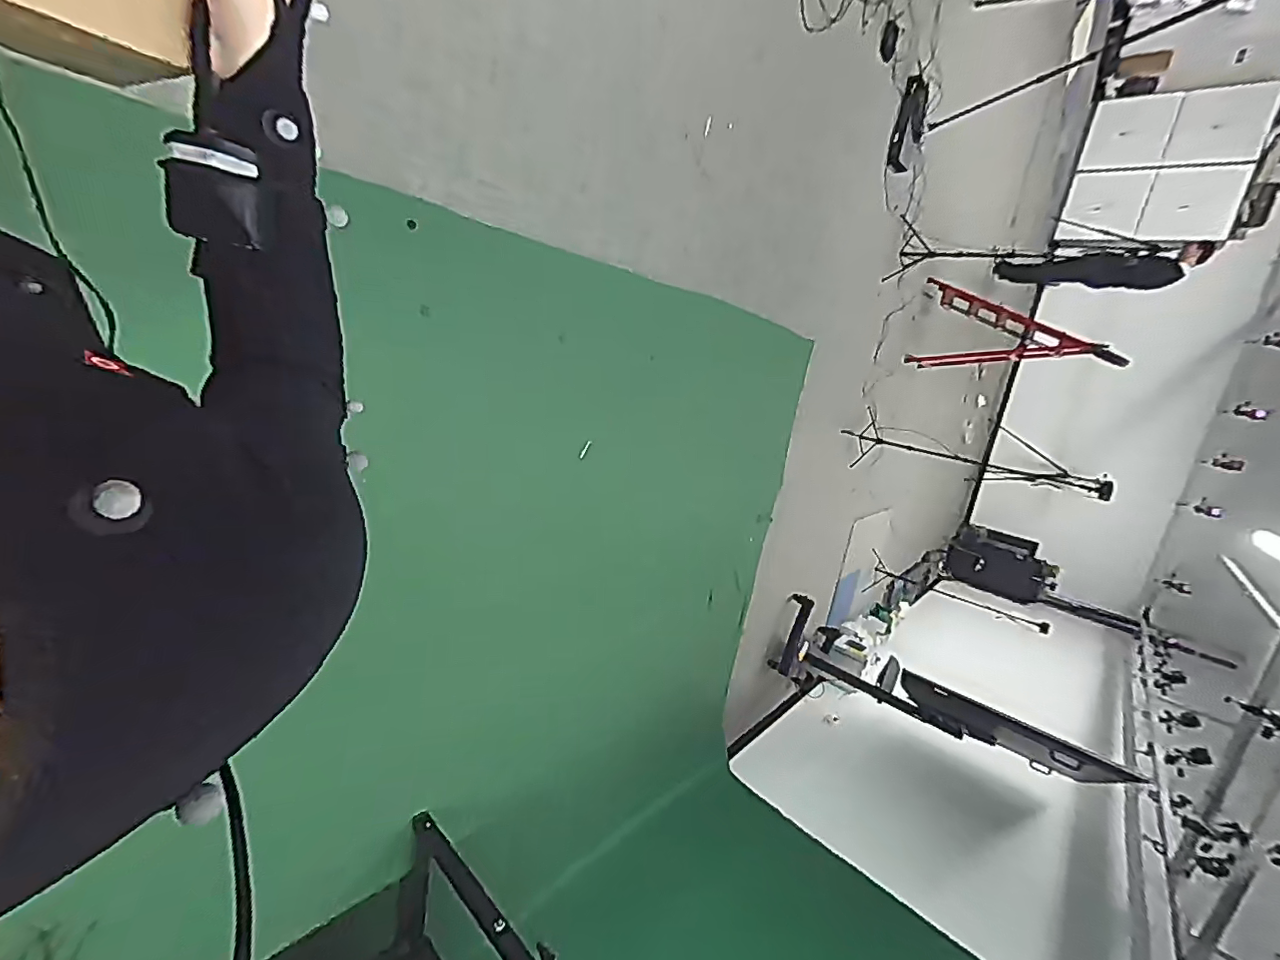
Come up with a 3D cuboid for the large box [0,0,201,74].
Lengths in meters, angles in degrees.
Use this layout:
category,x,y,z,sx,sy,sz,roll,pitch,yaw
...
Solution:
category,x,y,z,sx,sy,sz,roll,pitch,yaw
large box,-0.494,-0.456,0.245,0.408,0.320,0.320,-8,119,-50
